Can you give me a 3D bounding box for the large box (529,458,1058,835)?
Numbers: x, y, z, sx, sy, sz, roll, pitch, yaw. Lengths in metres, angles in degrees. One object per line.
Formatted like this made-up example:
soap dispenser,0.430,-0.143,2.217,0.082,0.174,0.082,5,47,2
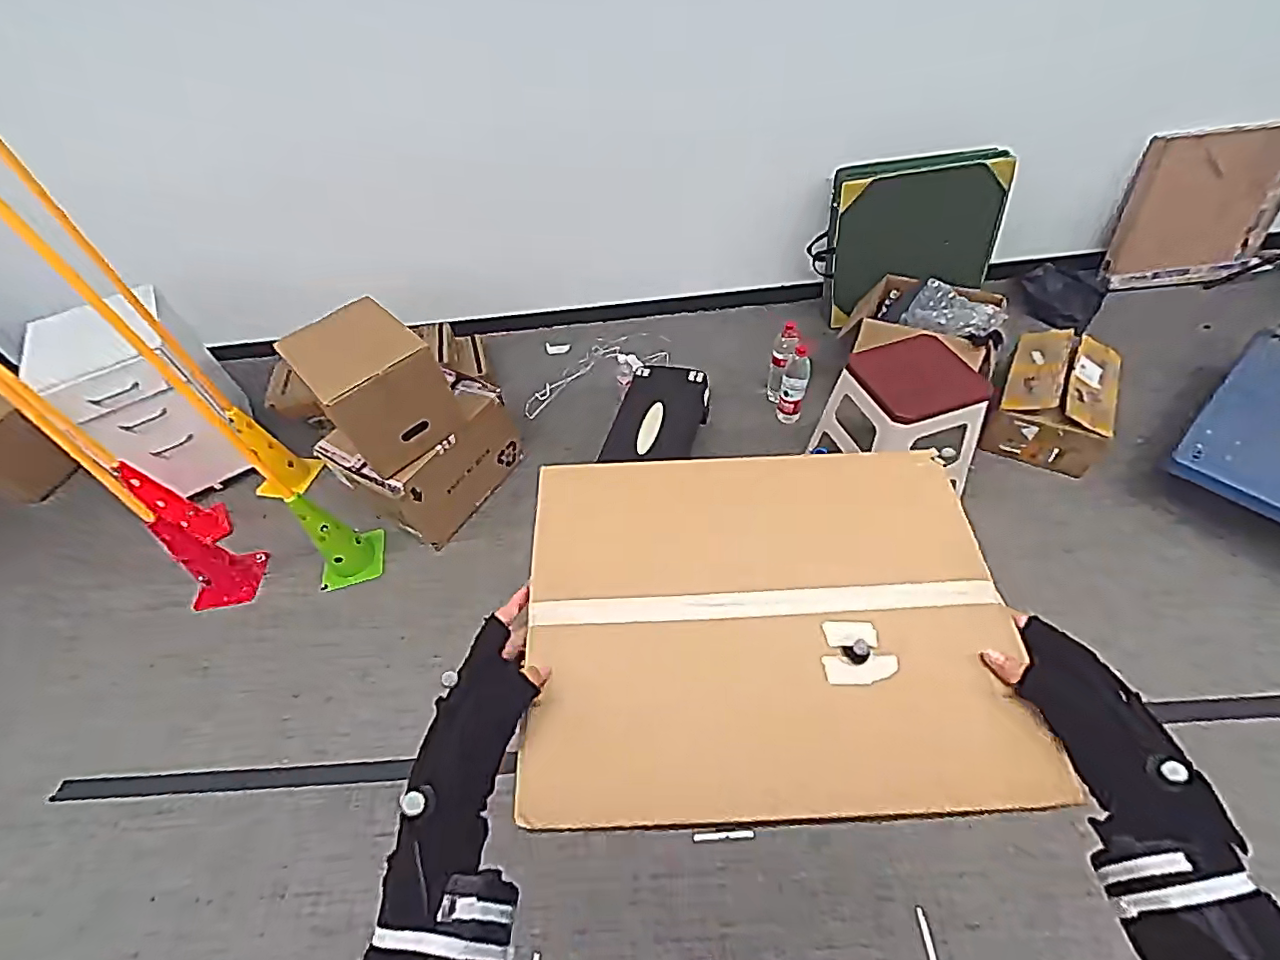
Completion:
large box,0.107,0.196,0.601,0.408,0.320,0.320,-2,57,-1
